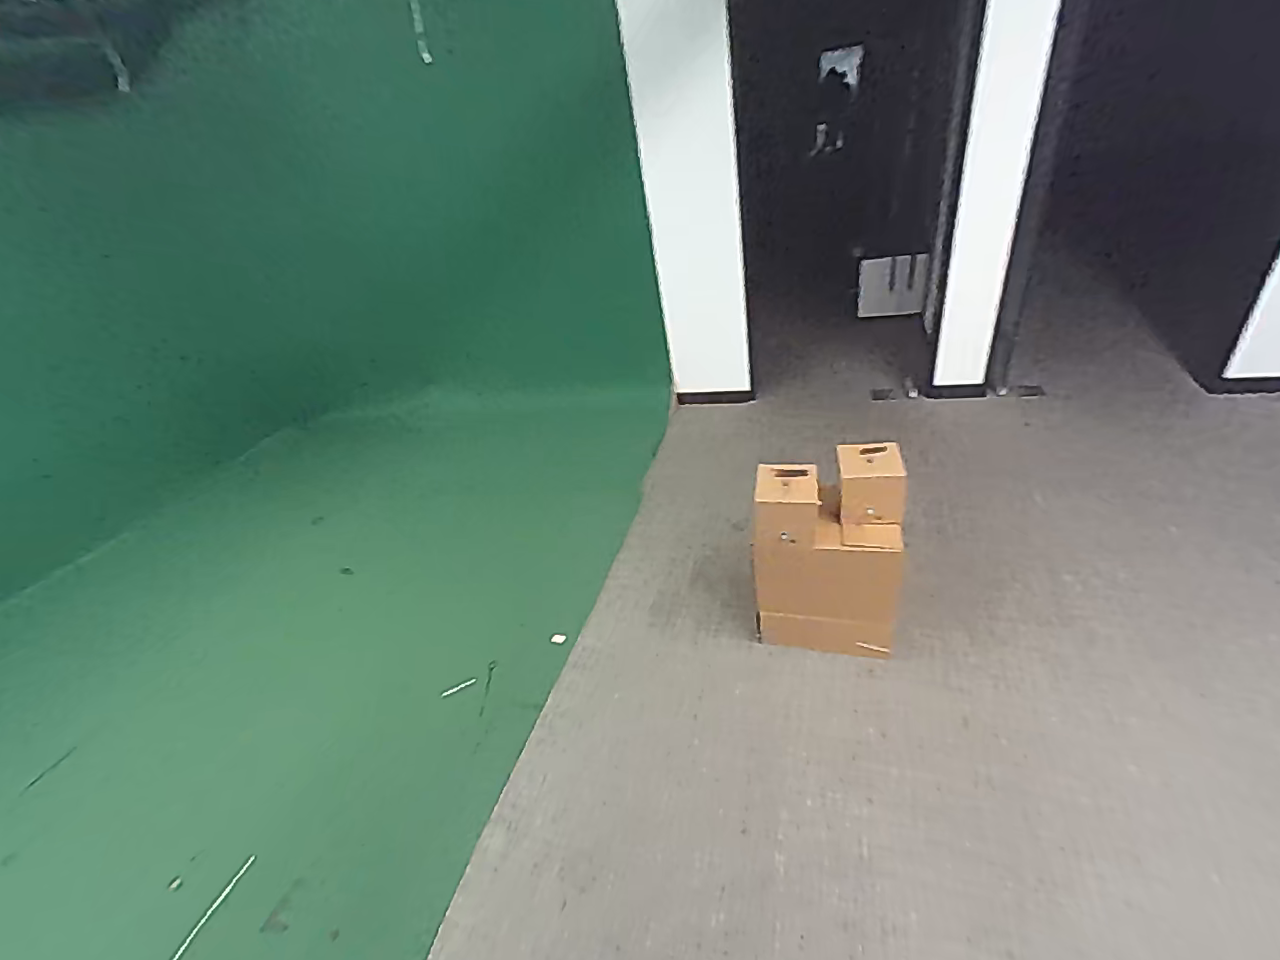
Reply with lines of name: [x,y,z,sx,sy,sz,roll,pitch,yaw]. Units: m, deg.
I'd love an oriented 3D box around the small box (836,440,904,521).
small box: [0.666,0.001,1.584,0.168,0.176,0.179,-2,36,17]
